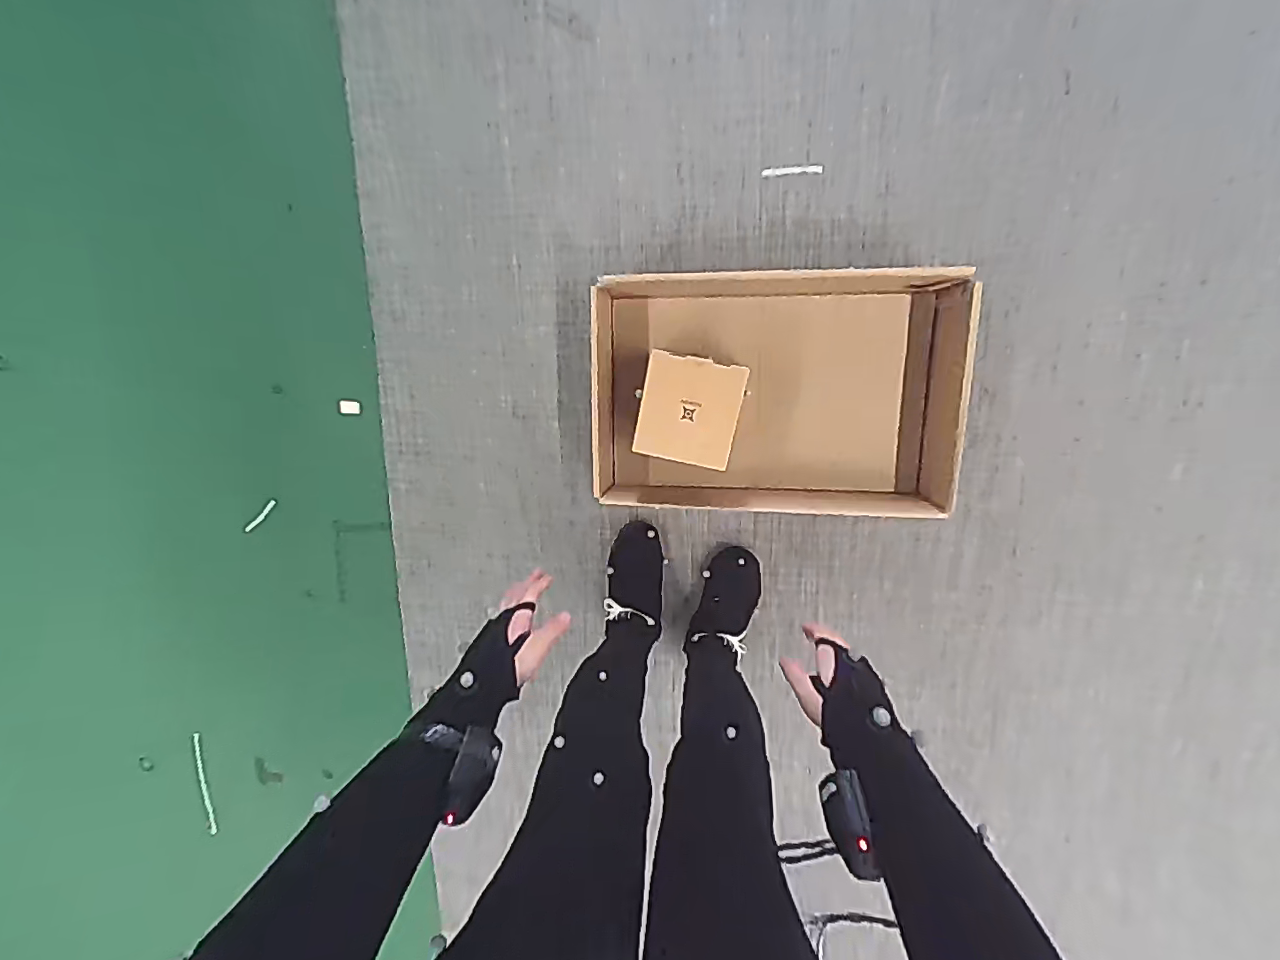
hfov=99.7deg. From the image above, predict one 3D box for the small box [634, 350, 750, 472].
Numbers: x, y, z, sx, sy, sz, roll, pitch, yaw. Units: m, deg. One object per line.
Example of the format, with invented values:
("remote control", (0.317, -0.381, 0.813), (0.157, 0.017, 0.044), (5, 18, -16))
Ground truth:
("small box", (0.095, -0.127, 0.973), (0.168, 0.176, 0.179), (12, 101, 6))
